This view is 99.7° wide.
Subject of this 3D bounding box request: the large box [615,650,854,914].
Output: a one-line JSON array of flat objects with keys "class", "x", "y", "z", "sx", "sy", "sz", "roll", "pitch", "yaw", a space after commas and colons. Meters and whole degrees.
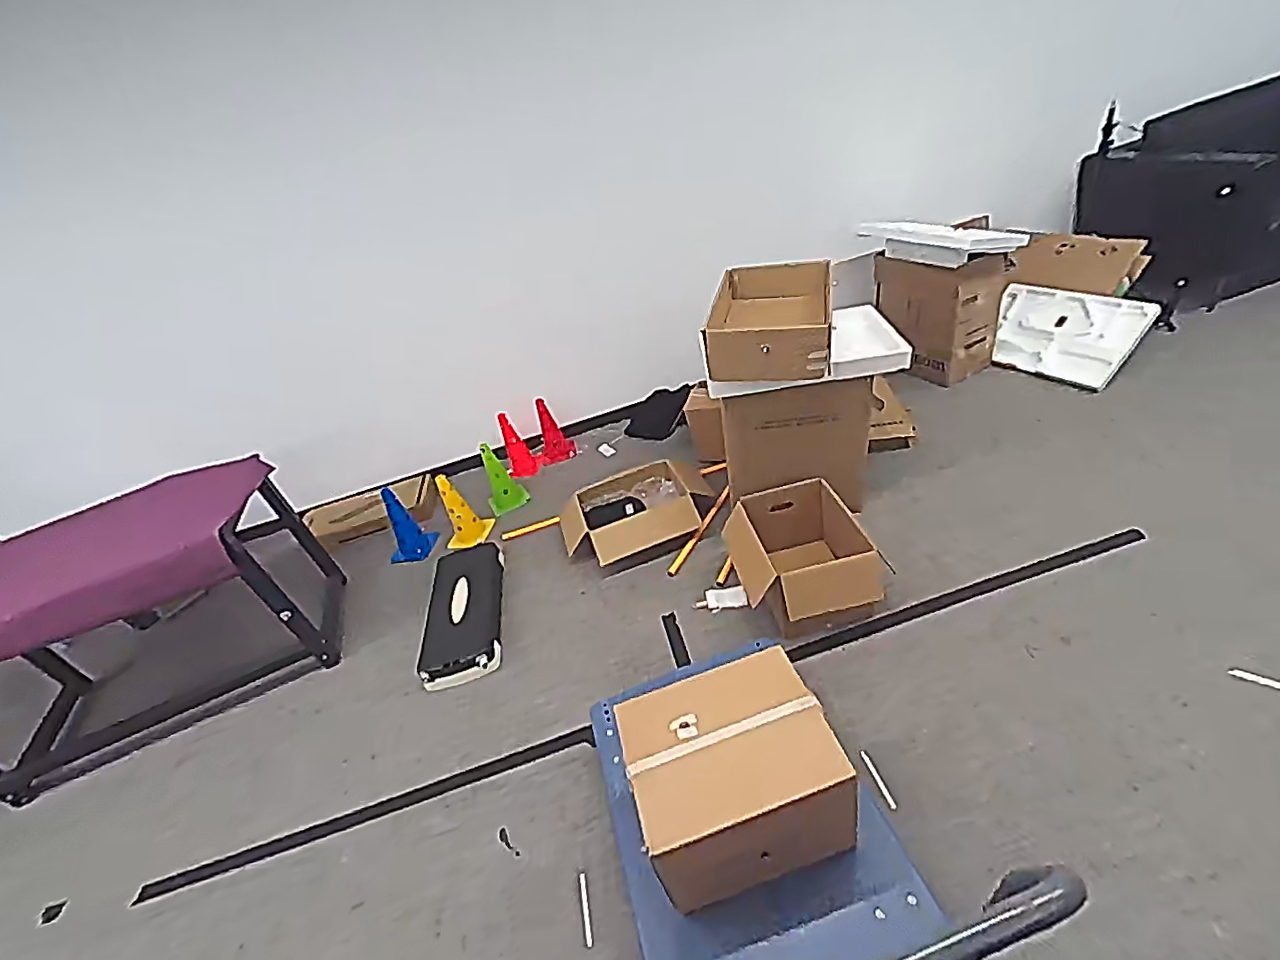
[{"class": "large box", "x": 0.203, "y": 0.650, "z": 1.182, "sx": 0.408, "sy": 0.320, "sz": 0.320, "roll": -20, "pitch": 33, "yaw": -4}]
